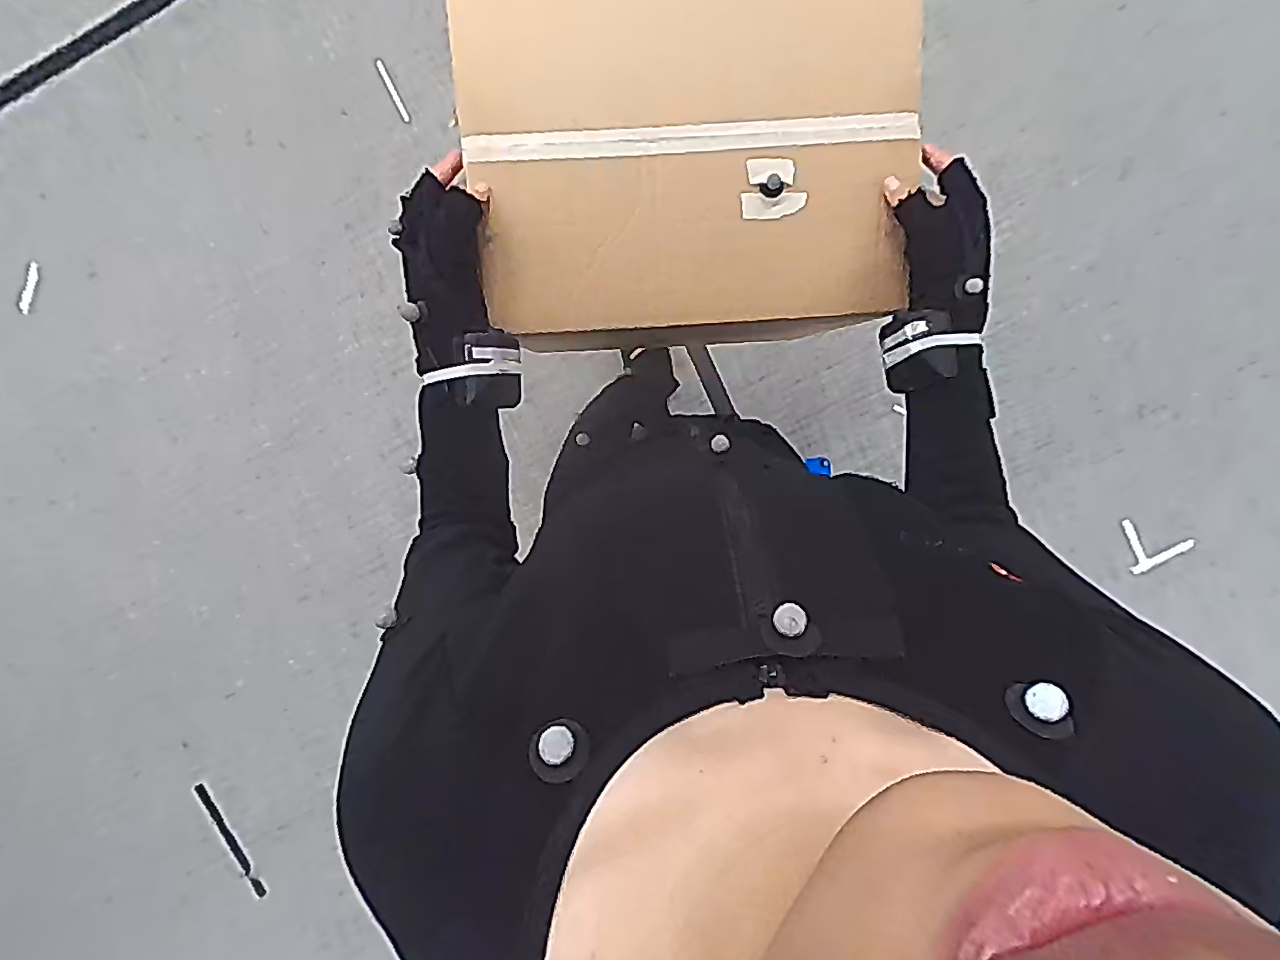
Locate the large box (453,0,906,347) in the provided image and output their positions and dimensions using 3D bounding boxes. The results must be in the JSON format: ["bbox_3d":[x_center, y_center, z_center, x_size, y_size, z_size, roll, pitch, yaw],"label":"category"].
[{"bbox_3d":[0.036,-0.339,0.636,0.408,0.320,0.320,-4,100,-2],"label":"large box"}]
